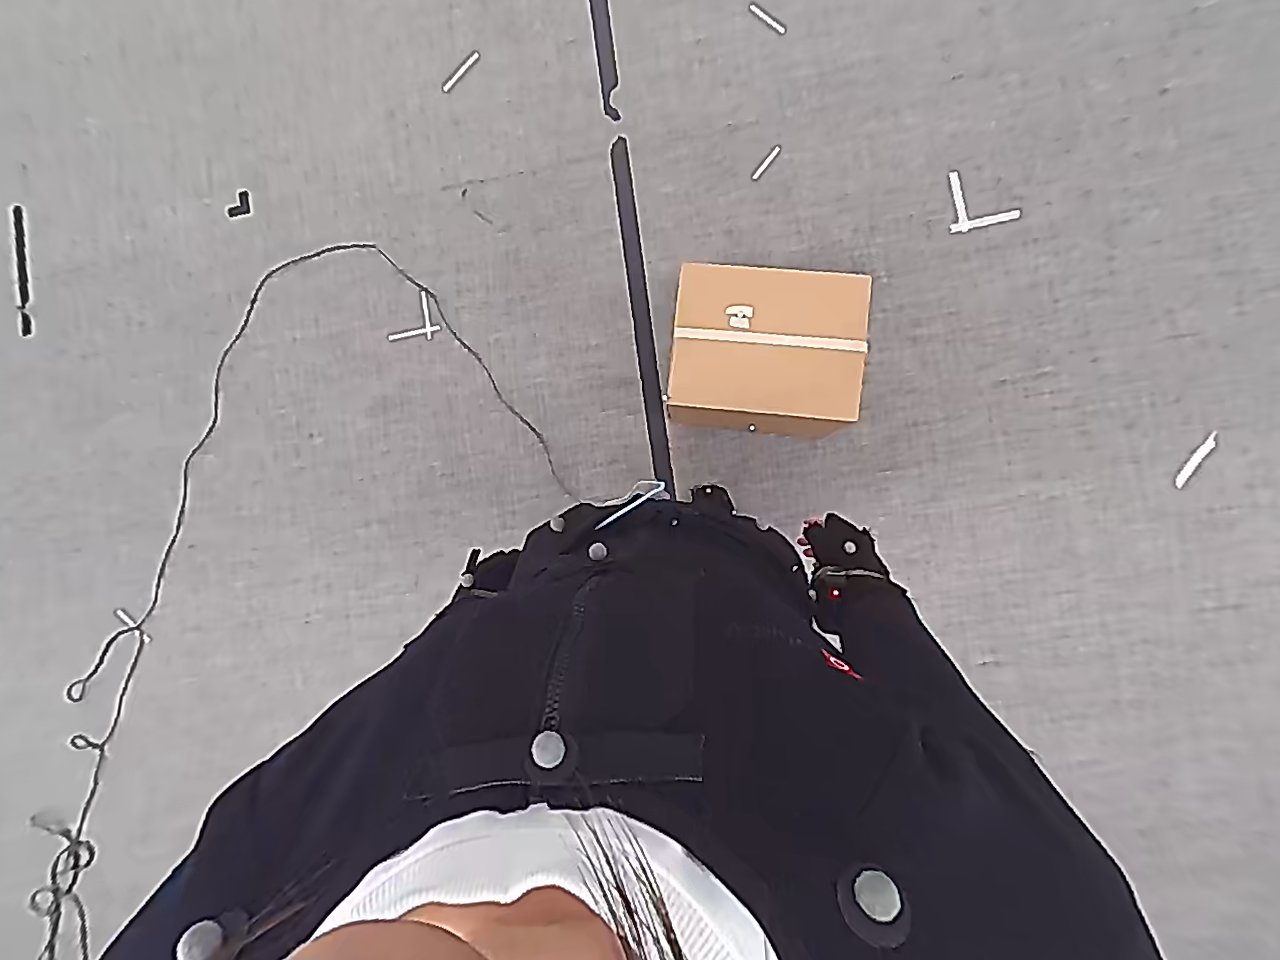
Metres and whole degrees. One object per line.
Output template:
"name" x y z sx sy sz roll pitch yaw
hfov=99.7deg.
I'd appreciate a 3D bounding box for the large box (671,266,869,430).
"large box" 0.296 -0.299 1.312 0.408 0.320 0.320 6 88 6
